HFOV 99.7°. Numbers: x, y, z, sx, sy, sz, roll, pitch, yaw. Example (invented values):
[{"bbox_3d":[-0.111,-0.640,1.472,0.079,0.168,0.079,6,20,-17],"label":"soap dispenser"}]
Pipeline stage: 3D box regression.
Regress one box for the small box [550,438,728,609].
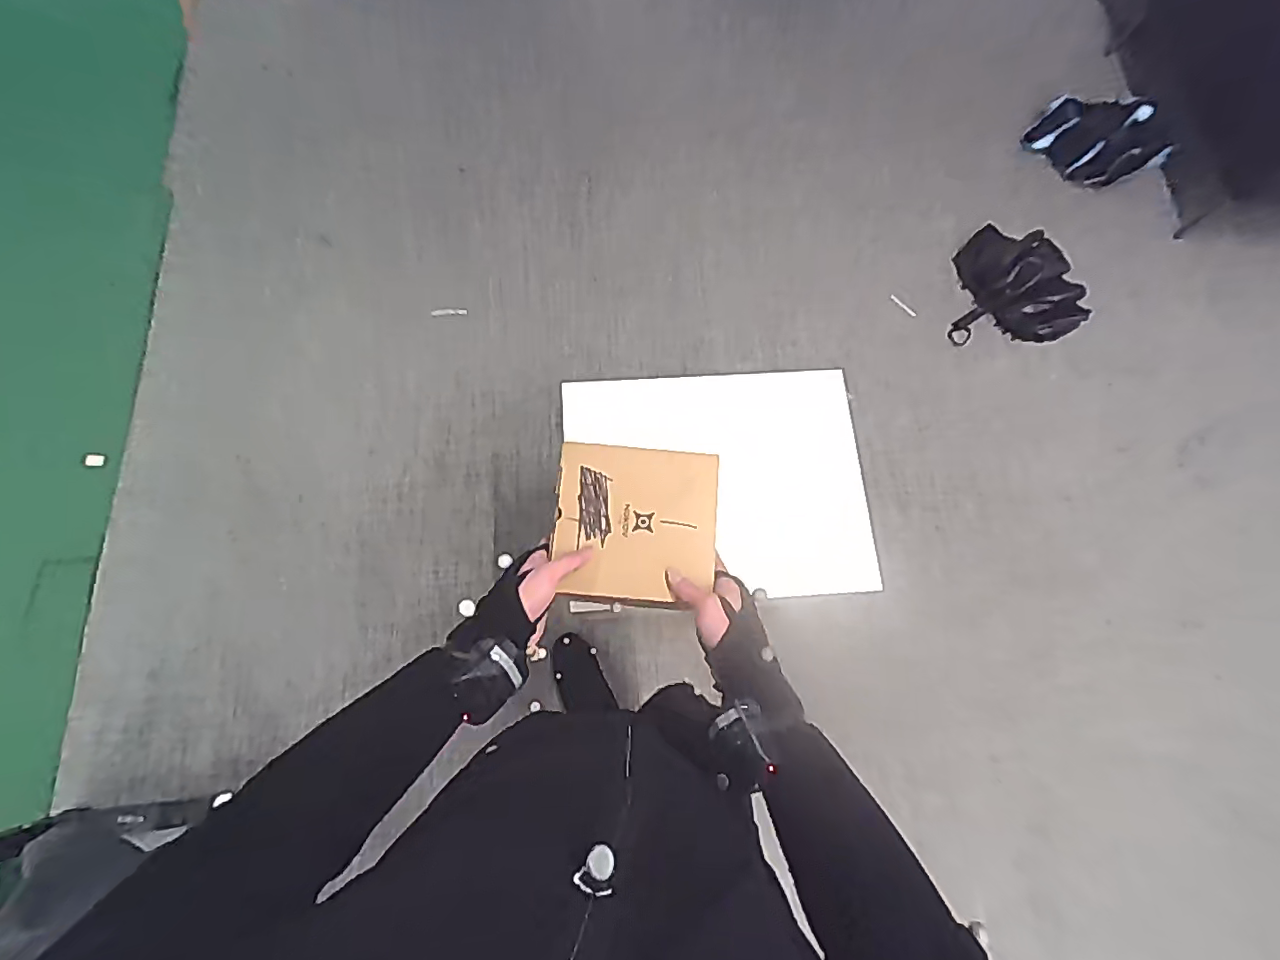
[{"bbox_3d":[-0.002,0.062,0.643,0.179,0.176,0.168,6,75,-2],"label":"small box"}]
